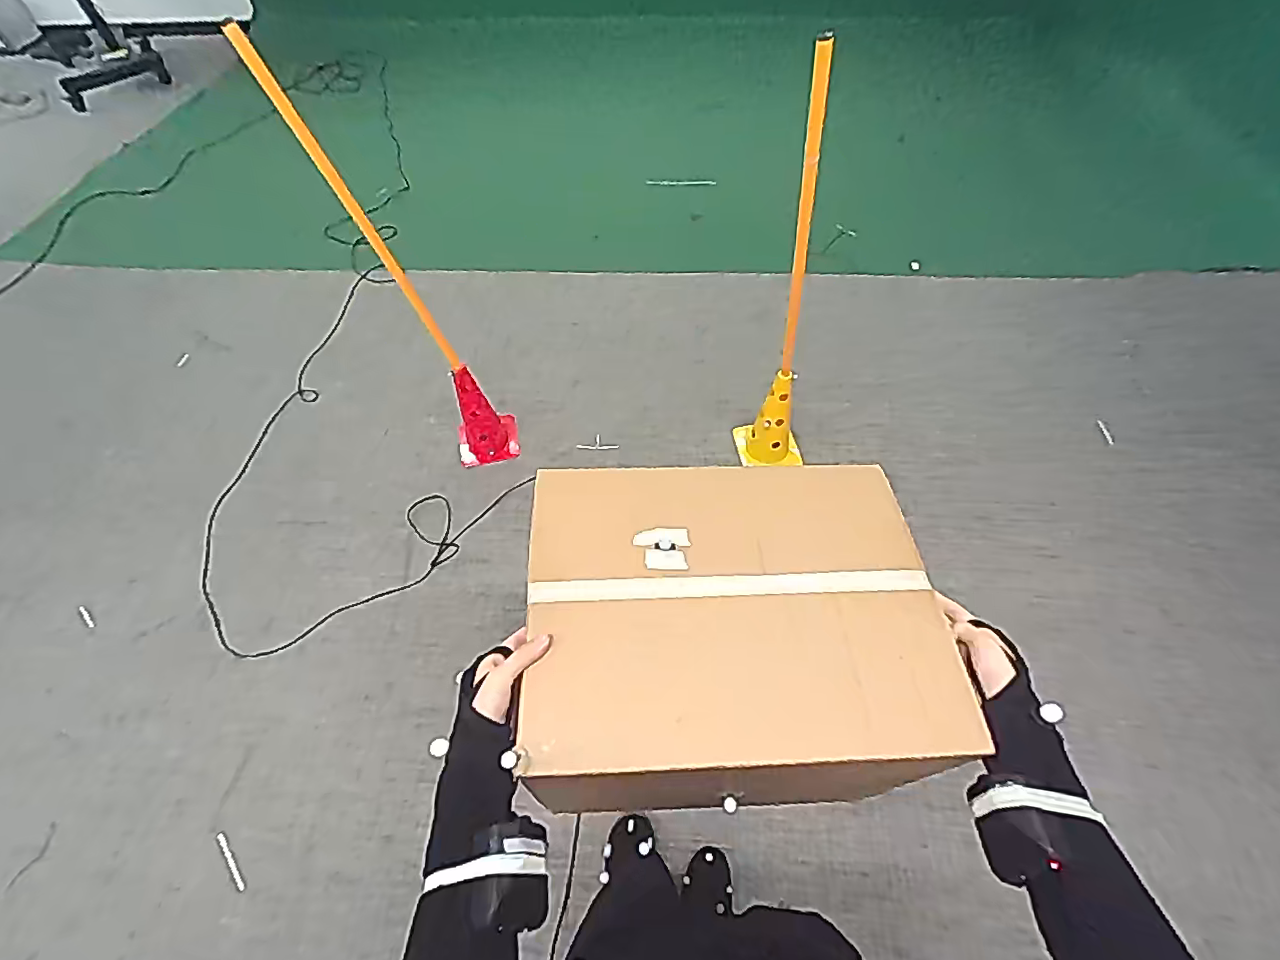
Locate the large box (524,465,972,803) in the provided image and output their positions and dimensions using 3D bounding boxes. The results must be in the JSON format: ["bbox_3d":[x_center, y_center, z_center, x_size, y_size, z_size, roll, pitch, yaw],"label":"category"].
[{"bbox_3d":[0.089,0.200,0.674,0.408,0.320,0.320,-2,53,-3],"label":"large box"}]
